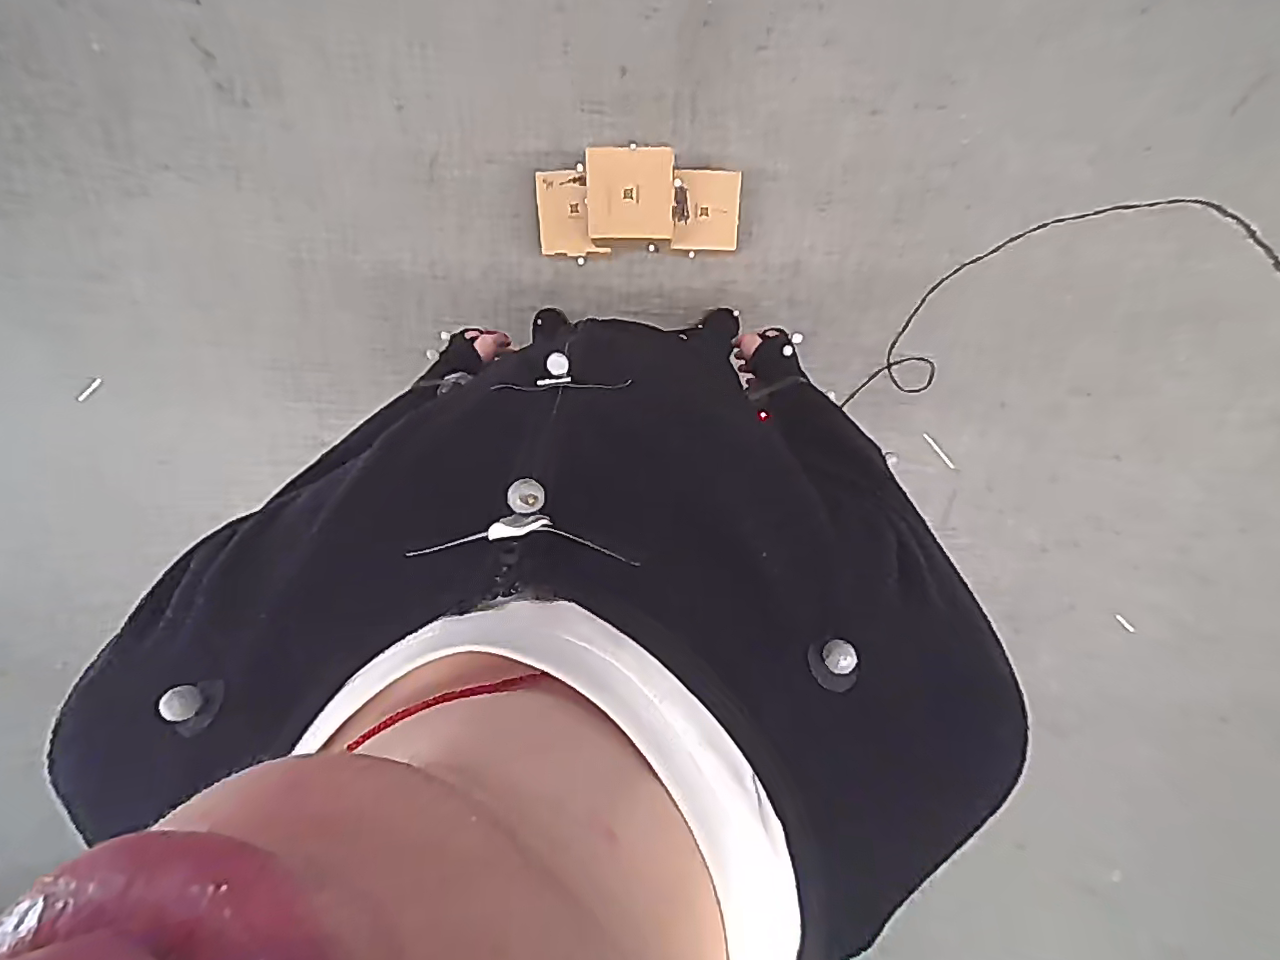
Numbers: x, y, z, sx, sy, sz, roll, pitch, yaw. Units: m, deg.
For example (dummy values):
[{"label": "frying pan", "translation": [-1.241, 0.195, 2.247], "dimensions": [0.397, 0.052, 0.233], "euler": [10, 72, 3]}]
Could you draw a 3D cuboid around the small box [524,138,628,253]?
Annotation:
[{"label": "small box", "translation": [-0.143, -0.669, 1.298], "dimensions": [0.179, 0.176, 0.168], "euler": [-29, 103, 12]}]

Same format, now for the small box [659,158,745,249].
[{"label": "small box", "translation": [0.143, -0.655, 1.300], "dimensions": [0.179, 0.176, 0.168], "euler": [6, 110, 0]}]
